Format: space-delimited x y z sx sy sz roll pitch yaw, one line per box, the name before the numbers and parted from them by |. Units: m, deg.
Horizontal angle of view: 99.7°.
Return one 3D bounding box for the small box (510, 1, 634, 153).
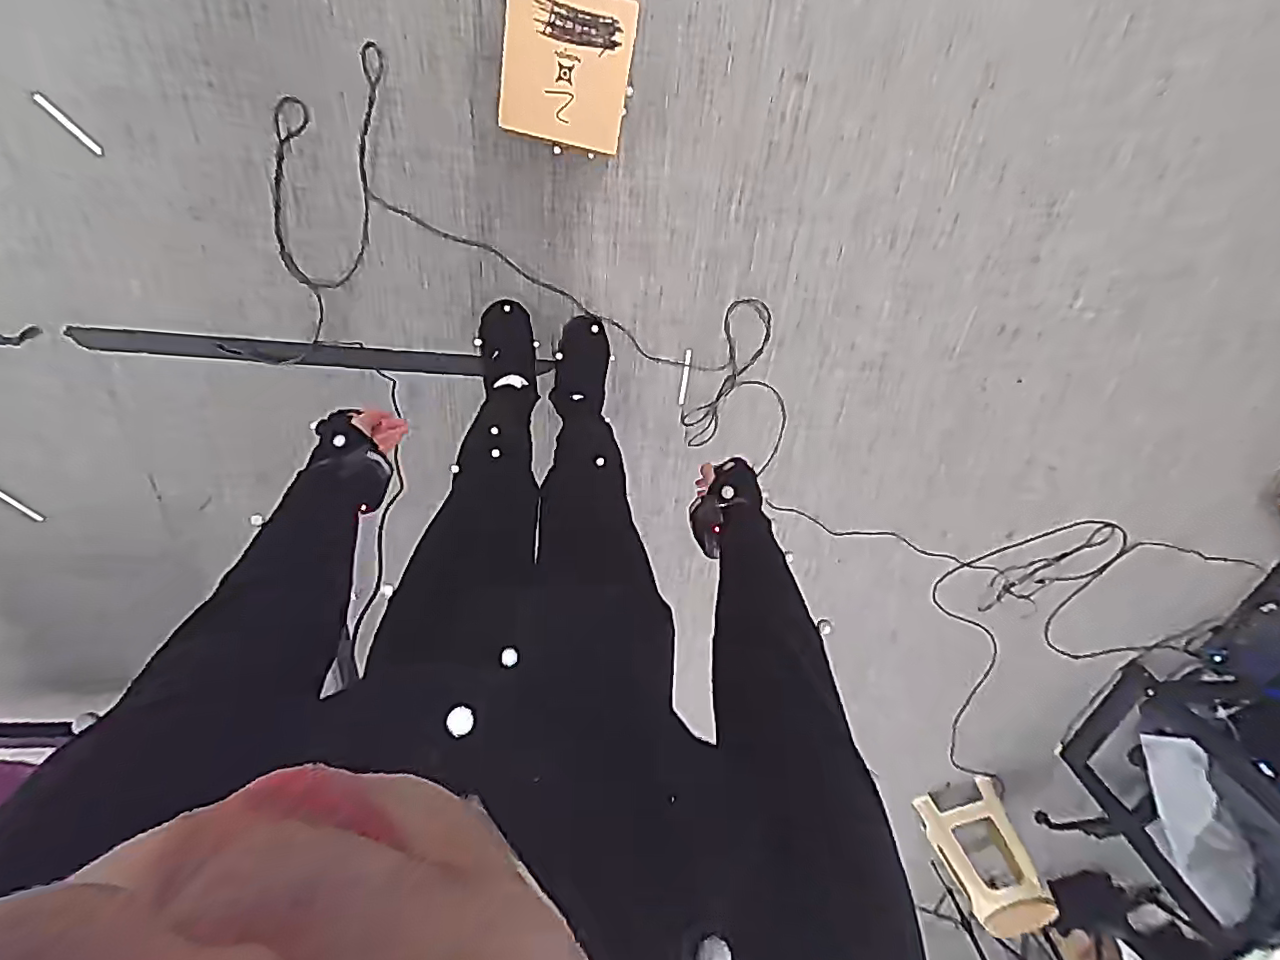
small box | -0.117 -0.665 0.917 0.179 0.176 0.168 7 120 -10
